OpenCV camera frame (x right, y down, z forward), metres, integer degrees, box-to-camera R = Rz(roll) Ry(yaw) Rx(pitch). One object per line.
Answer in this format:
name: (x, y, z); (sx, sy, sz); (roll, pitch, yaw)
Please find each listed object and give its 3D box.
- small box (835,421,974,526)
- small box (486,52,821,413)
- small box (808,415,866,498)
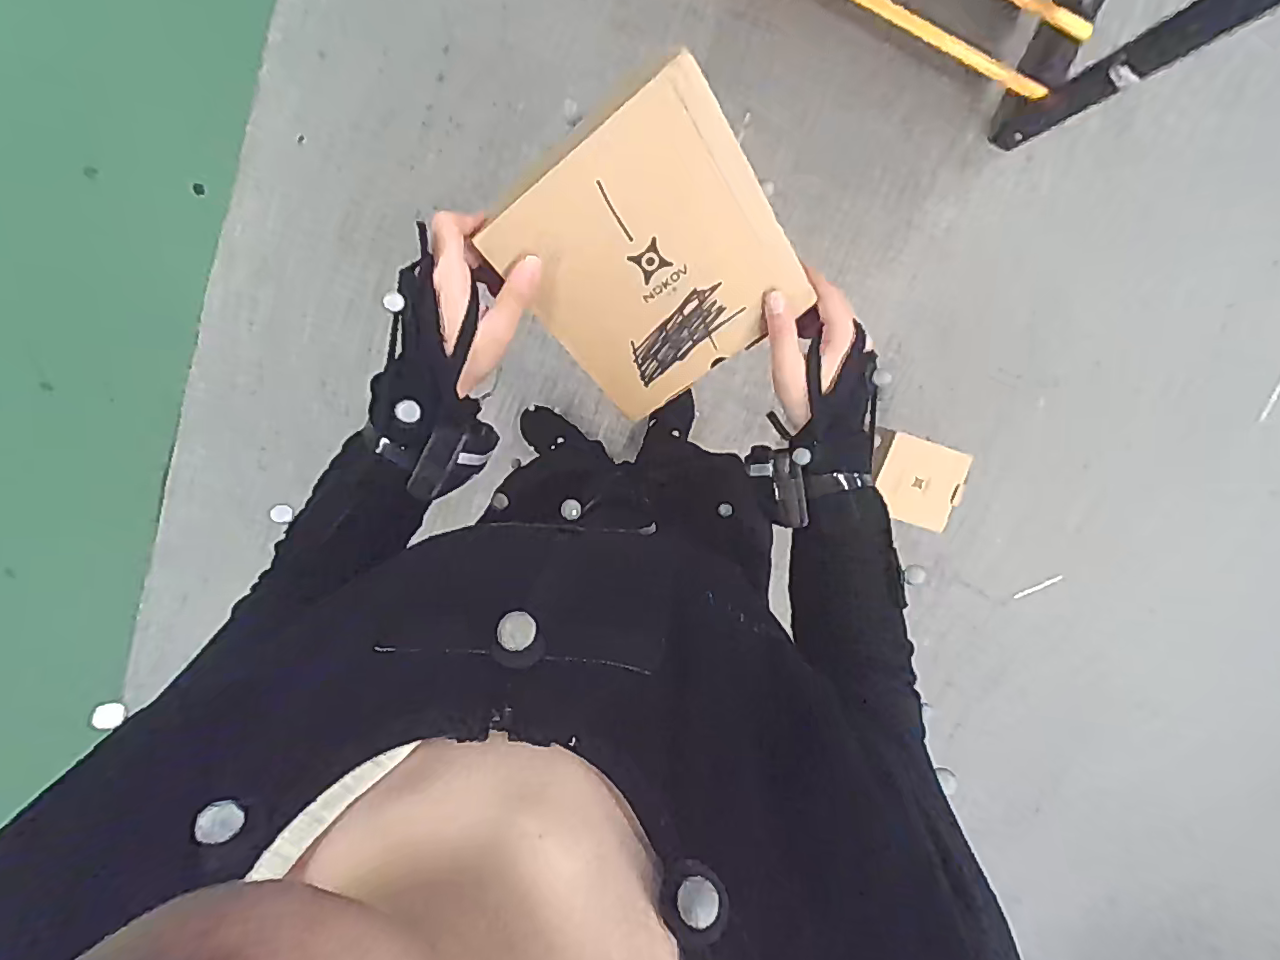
small box: (0.545, -0.021, 1.139); (0.179, 0.176, 0.168); (16, 100, -5)
small box: (0.010, -0.193, 0.424); (0.168, 0.176, 0.179); (-31, 125, 18)
small box: (0.529, -0.049, 1.301); (0.168, 0.176, 0.179); (16, 101, -6)
